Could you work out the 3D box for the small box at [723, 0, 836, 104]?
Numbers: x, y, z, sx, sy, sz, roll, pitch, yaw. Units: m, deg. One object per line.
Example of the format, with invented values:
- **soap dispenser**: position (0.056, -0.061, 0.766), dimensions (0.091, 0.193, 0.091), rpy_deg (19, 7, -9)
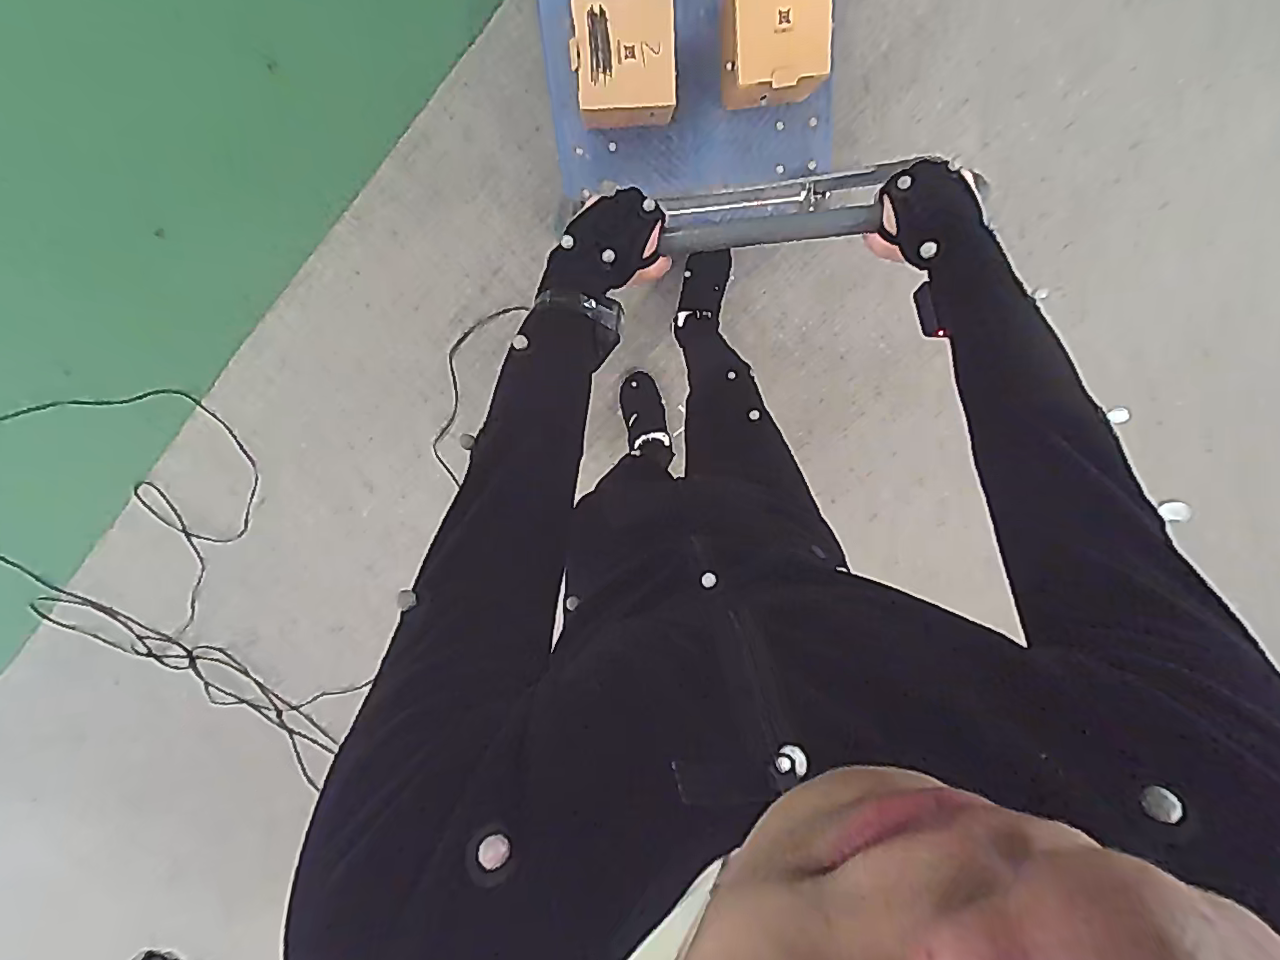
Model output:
- **small box**: position (0.249, -0.821, 0.992), dimensions (0.168, 0.176, 0.179), rpy_deg (-6, 114, 1)
